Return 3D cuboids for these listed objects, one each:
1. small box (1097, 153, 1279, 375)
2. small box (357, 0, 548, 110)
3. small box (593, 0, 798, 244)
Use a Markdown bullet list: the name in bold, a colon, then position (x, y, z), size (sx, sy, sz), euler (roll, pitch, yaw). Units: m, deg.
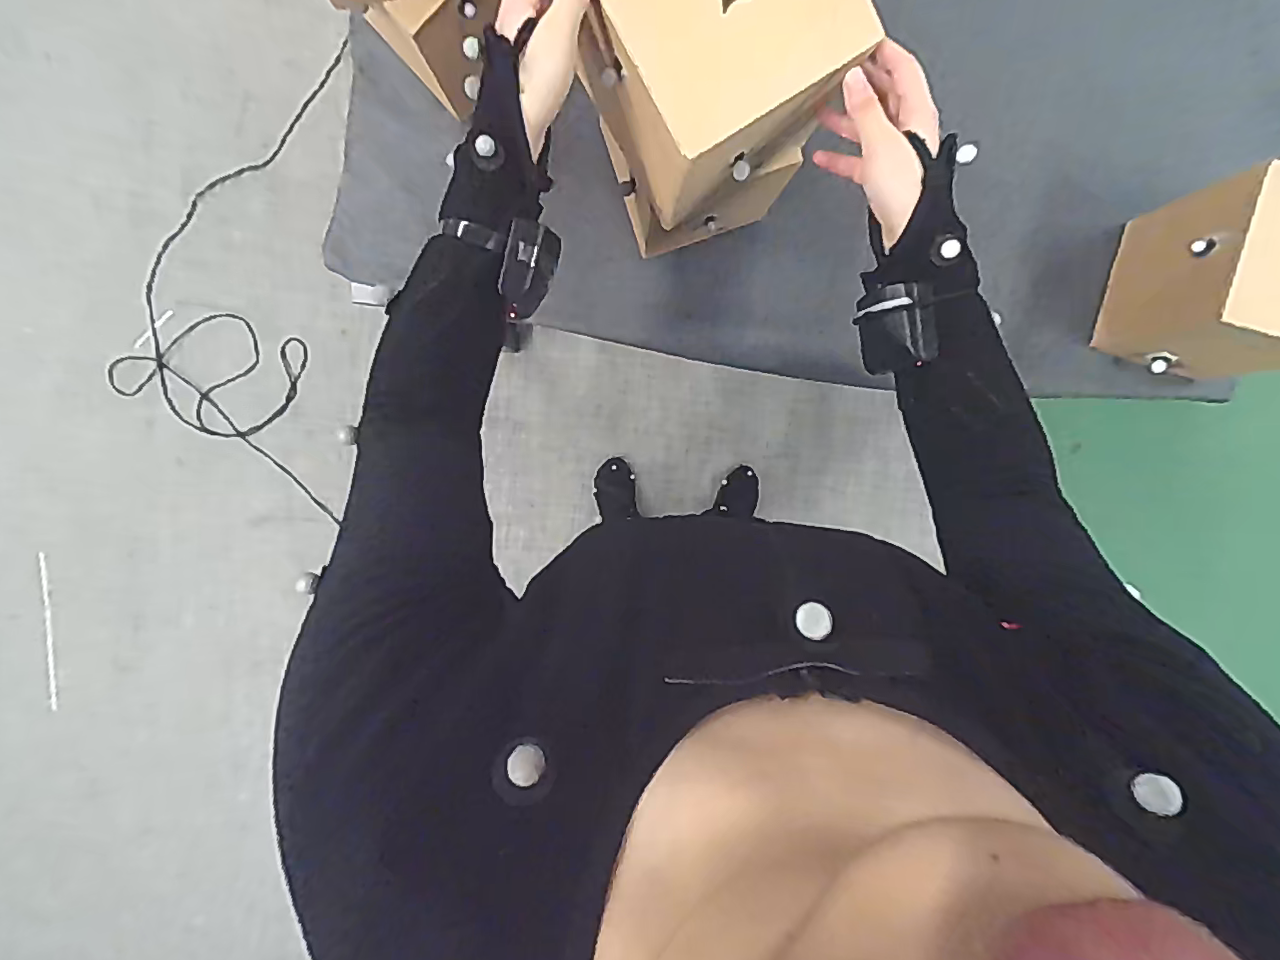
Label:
- **small box**: position (0.700, -0.236, 0.639), size (0.168, 0.176, 0.179), euler (15, 94, -1)
- **small box**: position (-0.224, -0.560, 0.585), size (0.168, 0.176, 0.179), euler (-43, 97, 5)
- **small box**: position (0.055, -0.388, 0.612), size (0.168, 0.176, 0.179), euler (-19, 97, 0)
